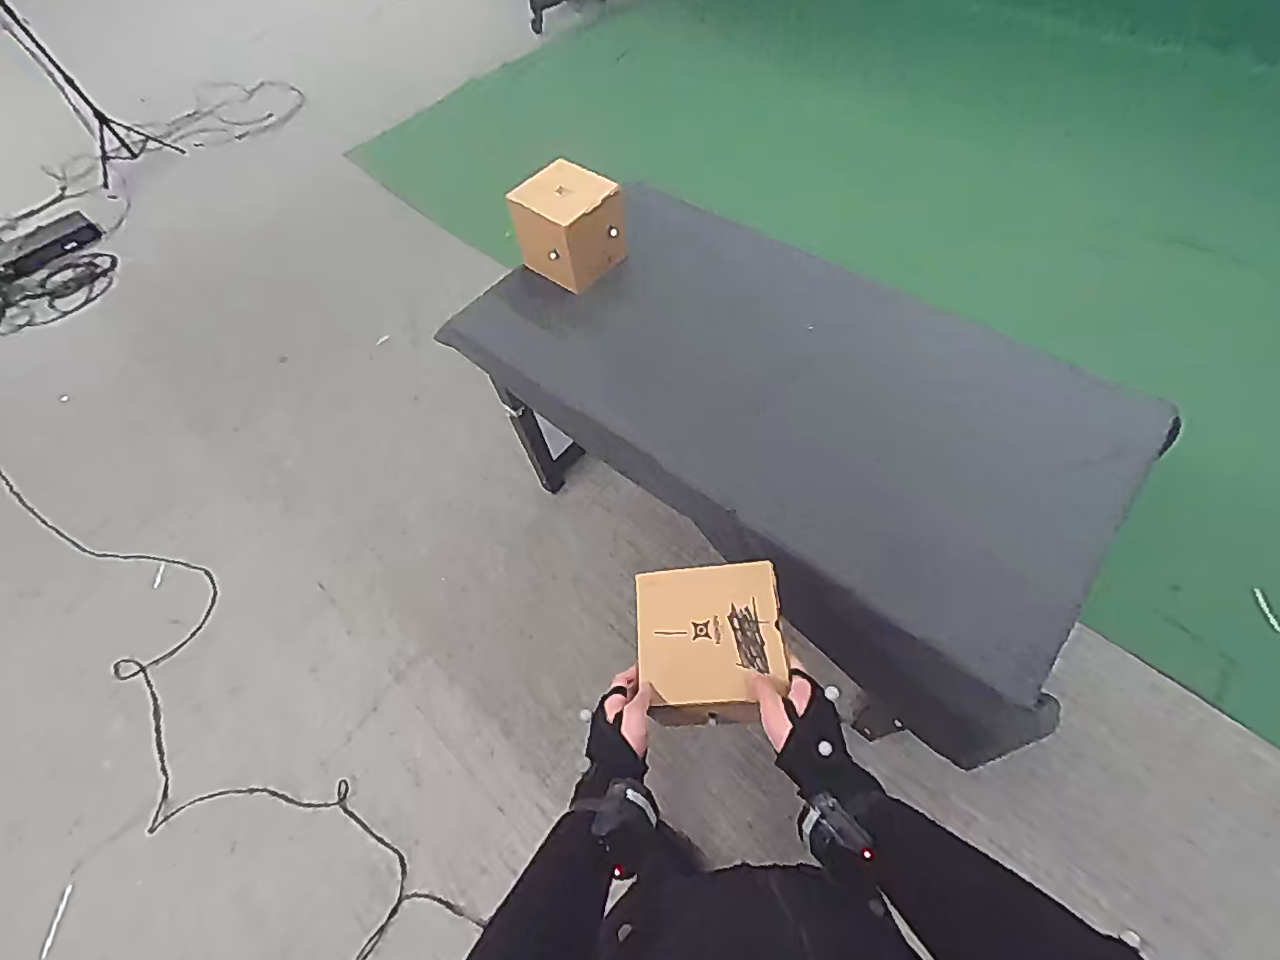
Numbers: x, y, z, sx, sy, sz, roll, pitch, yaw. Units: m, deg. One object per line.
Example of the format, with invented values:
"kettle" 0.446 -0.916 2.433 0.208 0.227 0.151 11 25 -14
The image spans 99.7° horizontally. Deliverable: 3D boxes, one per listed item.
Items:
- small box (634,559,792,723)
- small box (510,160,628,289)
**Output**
"small box" 0.090 0.215 0.703 0.179 0.176 0.168 -6 57 7
"small box" -0.141 -0.535 1.148 0.179 0.176 0.168 35 66 23
